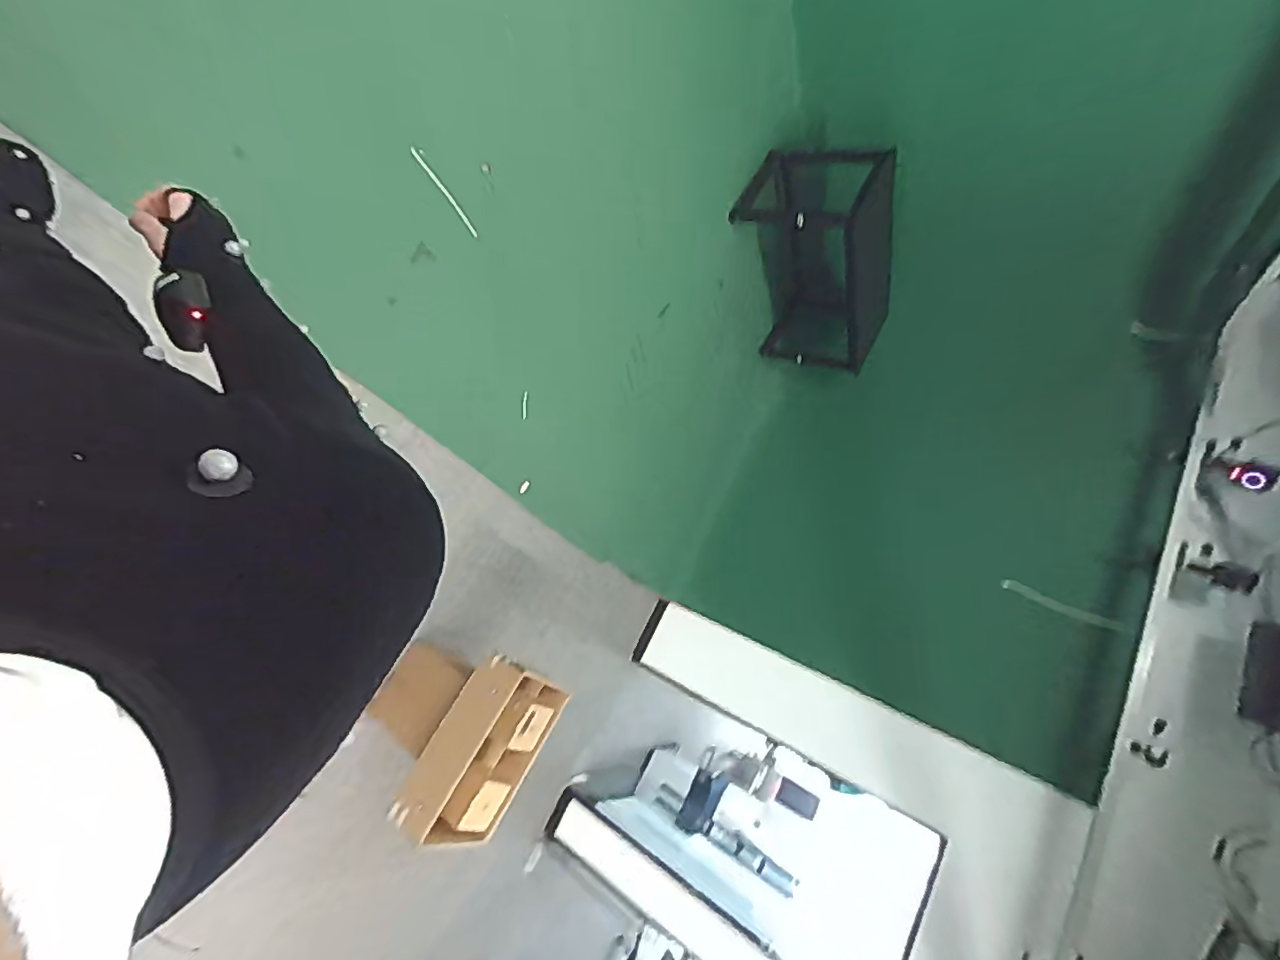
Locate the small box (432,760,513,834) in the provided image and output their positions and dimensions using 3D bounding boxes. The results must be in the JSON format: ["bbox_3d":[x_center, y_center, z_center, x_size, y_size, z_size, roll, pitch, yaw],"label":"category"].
[{"bbox_3d":[-0.593,1.122,1.920,0.168,0.176,0.179,-58,146,-19],"label":"small box"}]
